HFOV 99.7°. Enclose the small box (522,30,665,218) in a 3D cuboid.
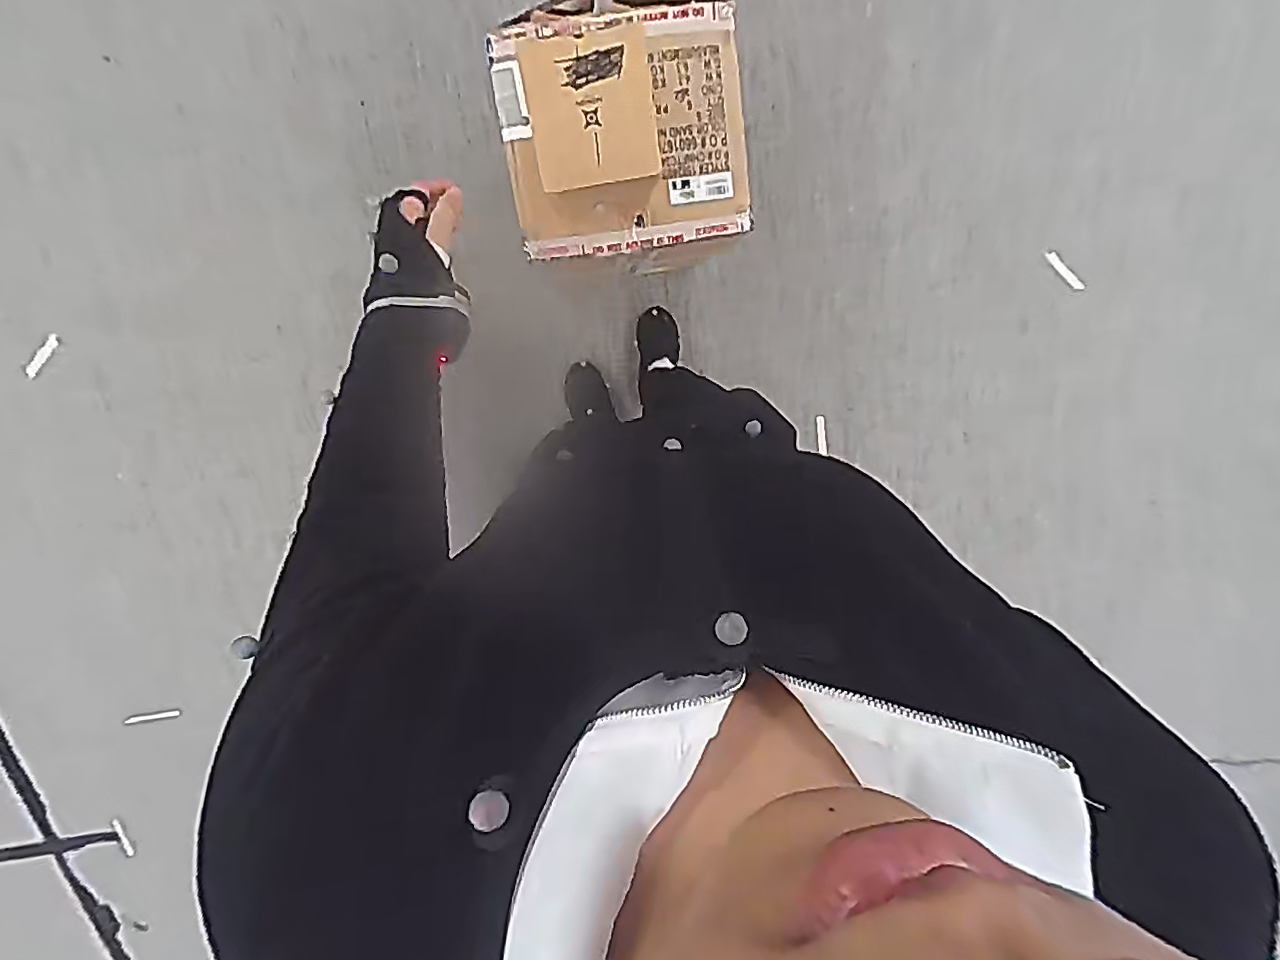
[{"bbox_3d":[-0.065,-0.499,0.784,0.168,0.176,0.179,-10,108,-1],"label":"small box"}]
